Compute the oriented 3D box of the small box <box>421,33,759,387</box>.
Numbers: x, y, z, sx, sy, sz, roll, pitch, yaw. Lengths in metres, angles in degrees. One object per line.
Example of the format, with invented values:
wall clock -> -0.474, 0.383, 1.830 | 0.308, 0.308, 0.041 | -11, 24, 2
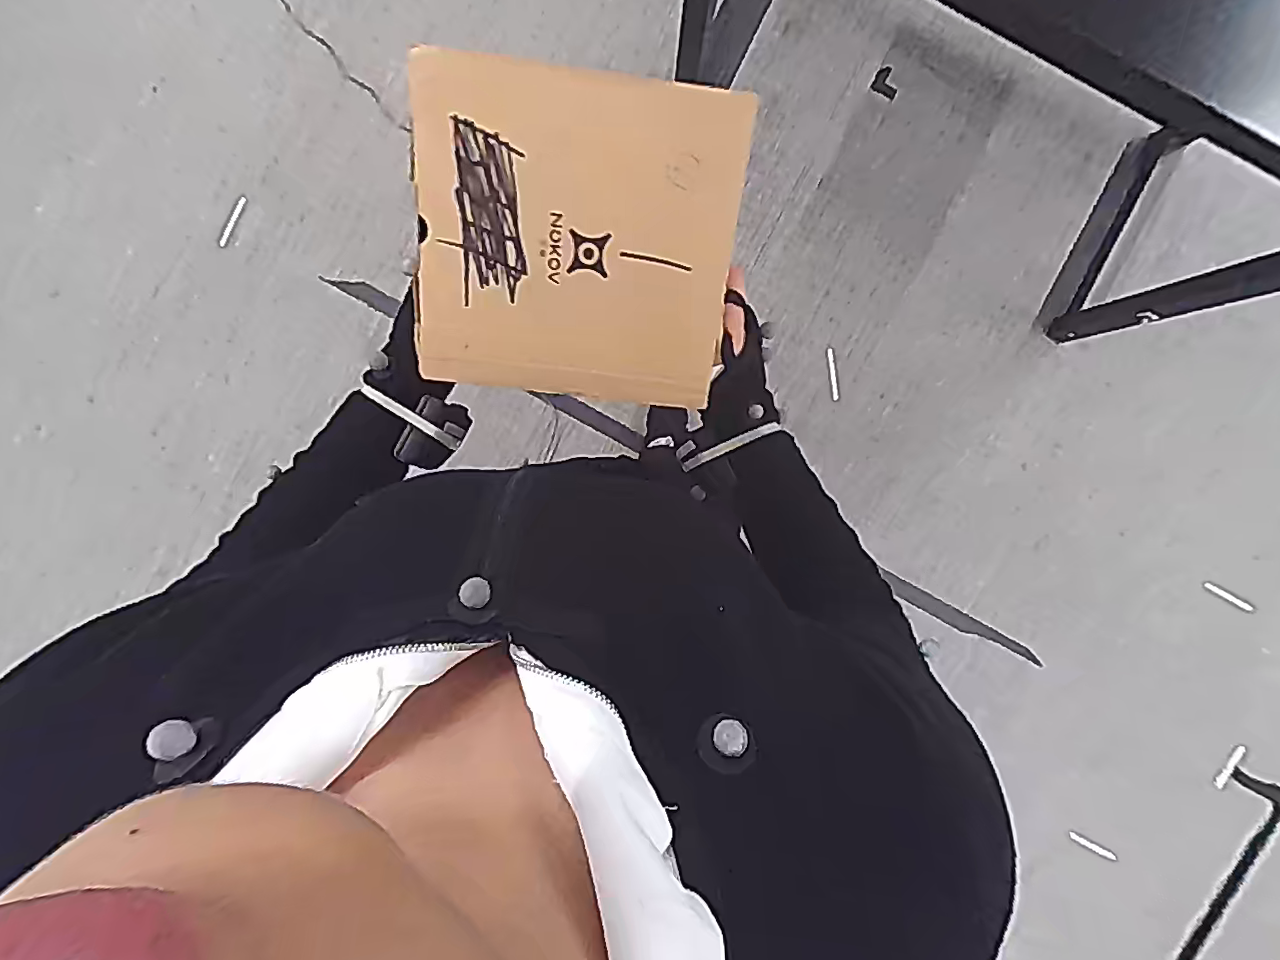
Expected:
small box -> -0.033, -0.172, 0.378 | 0.179, 0.176, 0.168 | 5, 113, -3
